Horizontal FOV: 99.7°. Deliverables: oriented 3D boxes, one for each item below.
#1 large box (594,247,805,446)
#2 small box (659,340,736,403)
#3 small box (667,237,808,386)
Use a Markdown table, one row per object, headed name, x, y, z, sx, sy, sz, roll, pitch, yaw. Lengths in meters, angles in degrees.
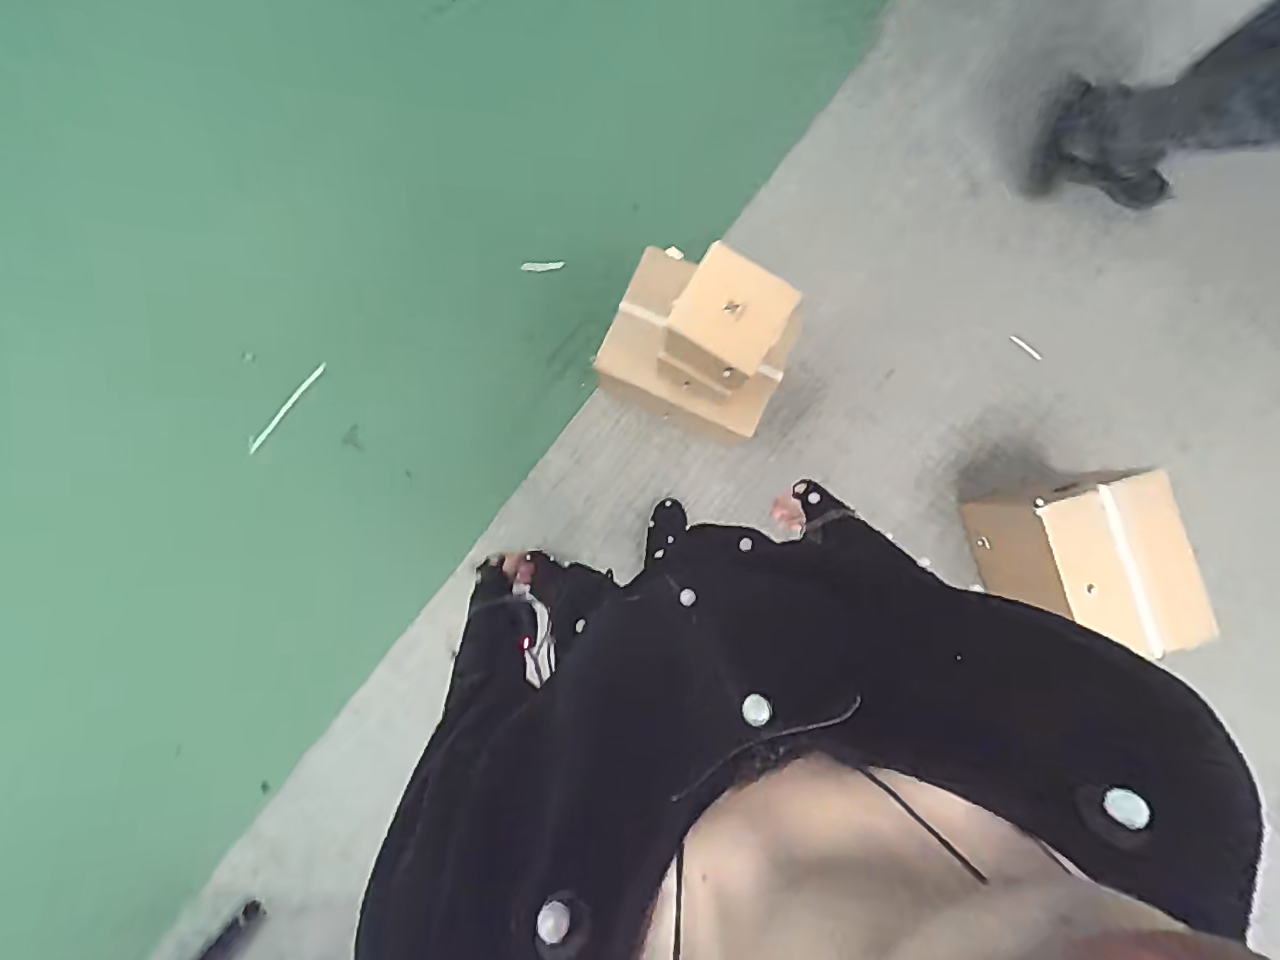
| name | x | y | z | sx | sy | sz | roll | pitch | yaw |
| --- | --- | --- | --- | --- | --- | --- | --- | --- | --- |
| large box | 0.138 | -0.312 | 1.374 | 0.408 | 0.320 | 0.320 | 25 | 87 | 1 |
| small box | 0.151 | -0.279 | 1.127 | 0.168 | 0.176 | 0.179 | 31 | 89 | -1 |
| small box | 0.160 | -0.286 | 0.965 | 0.179 | 0.176 | 0.168 | 32 | 89 | -1 |
